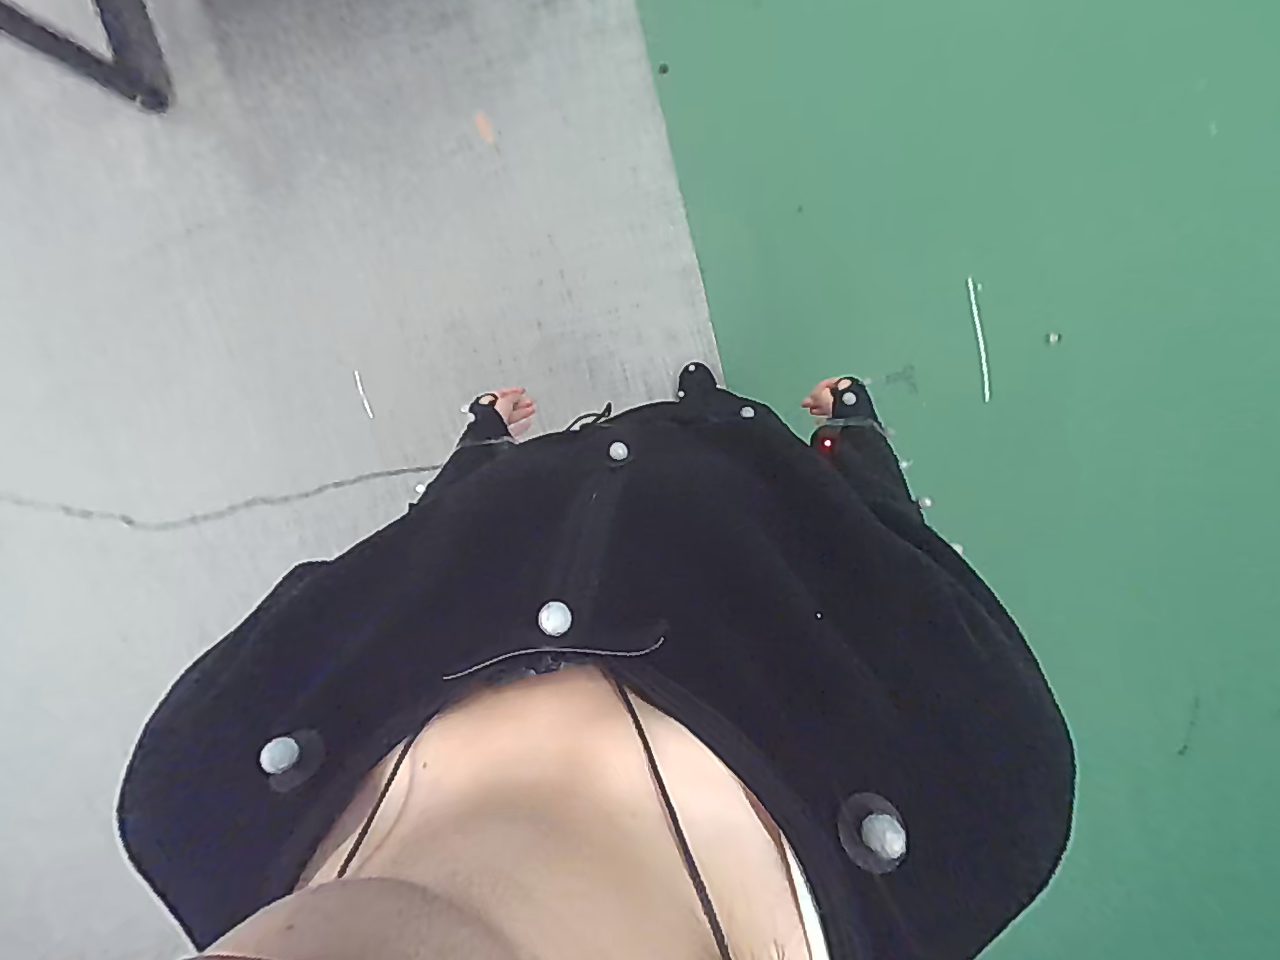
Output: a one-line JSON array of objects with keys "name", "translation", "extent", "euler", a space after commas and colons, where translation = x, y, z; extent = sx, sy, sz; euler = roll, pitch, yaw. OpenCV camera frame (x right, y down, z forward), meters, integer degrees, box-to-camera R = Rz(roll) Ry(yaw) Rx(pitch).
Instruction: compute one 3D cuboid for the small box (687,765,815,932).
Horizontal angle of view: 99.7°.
[{"name": "small box", "translation": [0.203, 0.692, 1.033], "extent": [0.179, 0.176, 0.168], "euler": [-29, 95, 7]}]
